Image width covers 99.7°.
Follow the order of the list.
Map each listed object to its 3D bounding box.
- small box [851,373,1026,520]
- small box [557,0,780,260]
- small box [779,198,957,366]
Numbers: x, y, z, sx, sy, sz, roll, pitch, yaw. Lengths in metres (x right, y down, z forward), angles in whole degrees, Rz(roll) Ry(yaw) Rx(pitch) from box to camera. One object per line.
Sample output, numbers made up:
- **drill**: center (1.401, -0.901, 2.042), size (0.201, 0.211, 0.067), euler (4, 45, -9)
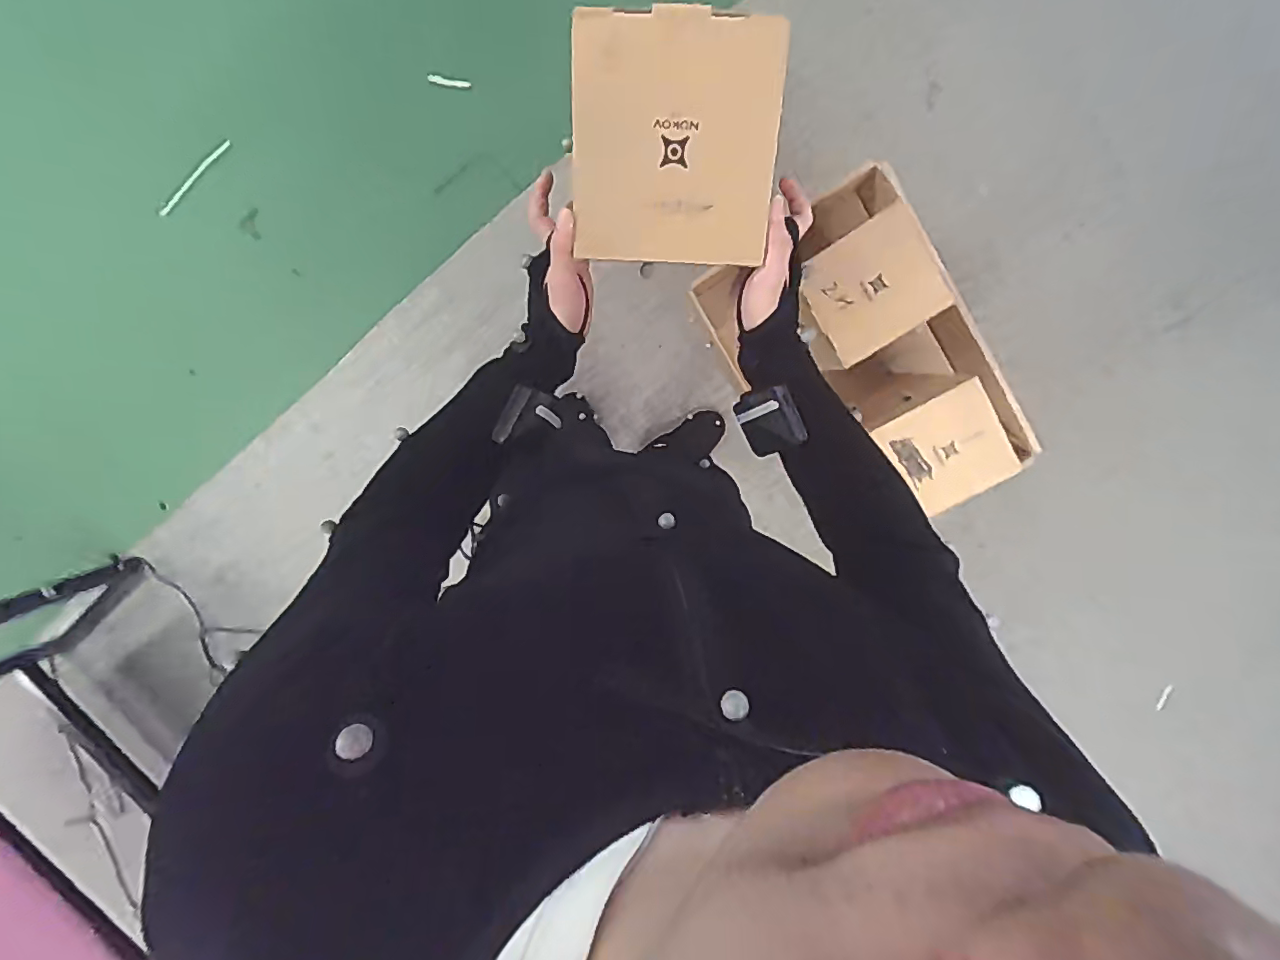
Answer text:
- **small box**: center (0.464, -0.060, 0.879), size (0.179, 0.176, 0.168), euler (-29, 98, 11)
- **small box**: center (0.017, -0.299, 0.493), size (0.168, 0.176, 0.179), euler (2, 113, 0)
- **small box**: center (0.339, -0.294, 0.841), size (0.179, 0.176, 0.168), euler (-31, 97, 11)
